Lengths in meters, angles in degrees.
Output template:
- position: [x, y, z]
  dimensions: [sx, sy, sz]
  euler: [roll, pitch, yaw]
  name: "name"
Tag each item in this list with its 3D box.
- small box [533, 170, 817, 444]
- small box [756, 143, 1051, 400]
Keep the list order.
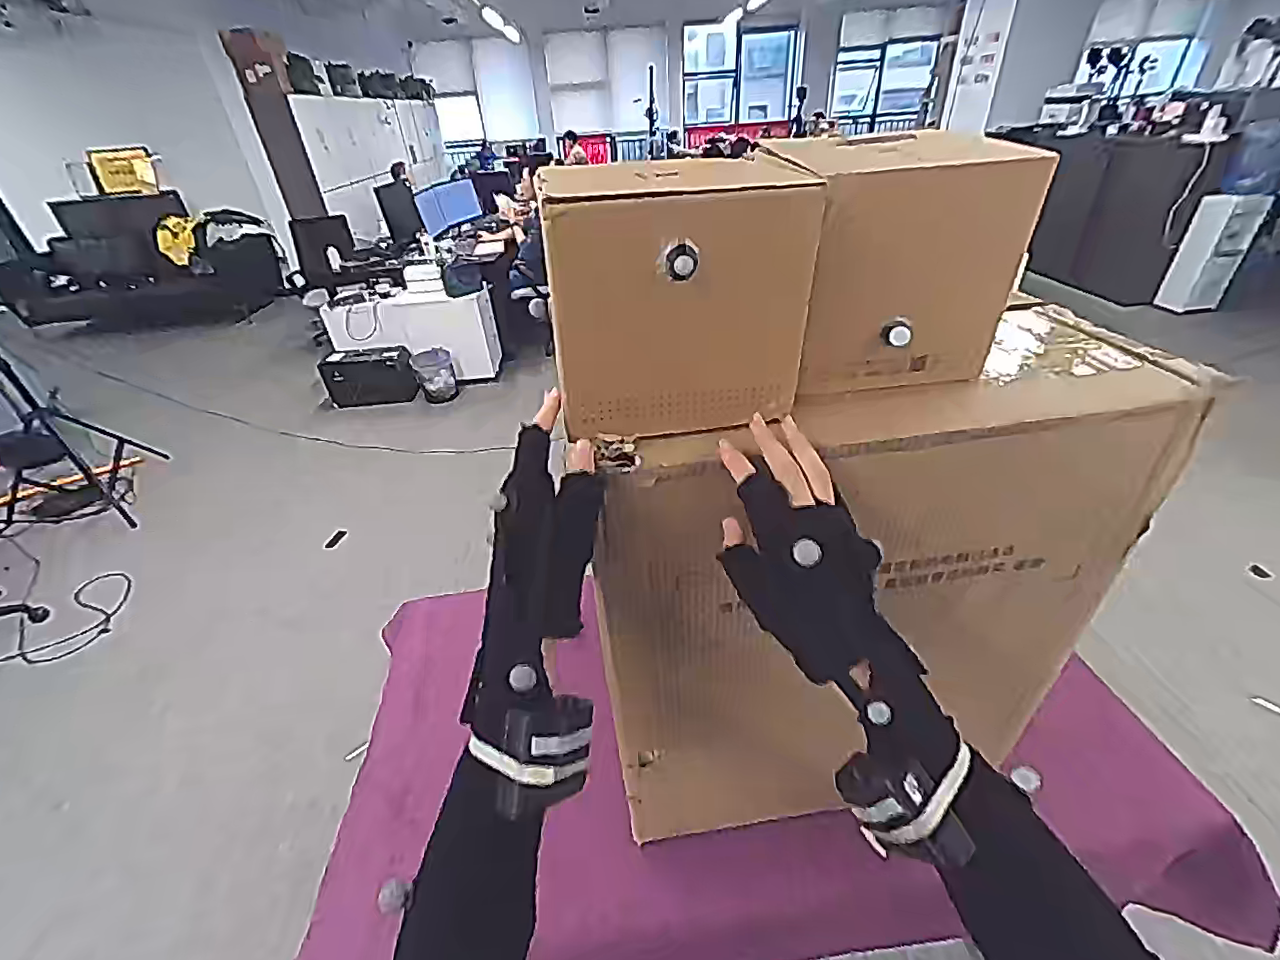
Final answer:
- position: [0.016, -0.140, 0.428]
  dimensions: [0.179, 0.176, 0.168]
  euler: [-6, 35, -7]
  name: "small box"
- position: [0.196, -0.187, 0.477]
  dimensions: [0.168, 0.176, 0.179]
  euler: [-6, 37, -1]
  name: "small box"
